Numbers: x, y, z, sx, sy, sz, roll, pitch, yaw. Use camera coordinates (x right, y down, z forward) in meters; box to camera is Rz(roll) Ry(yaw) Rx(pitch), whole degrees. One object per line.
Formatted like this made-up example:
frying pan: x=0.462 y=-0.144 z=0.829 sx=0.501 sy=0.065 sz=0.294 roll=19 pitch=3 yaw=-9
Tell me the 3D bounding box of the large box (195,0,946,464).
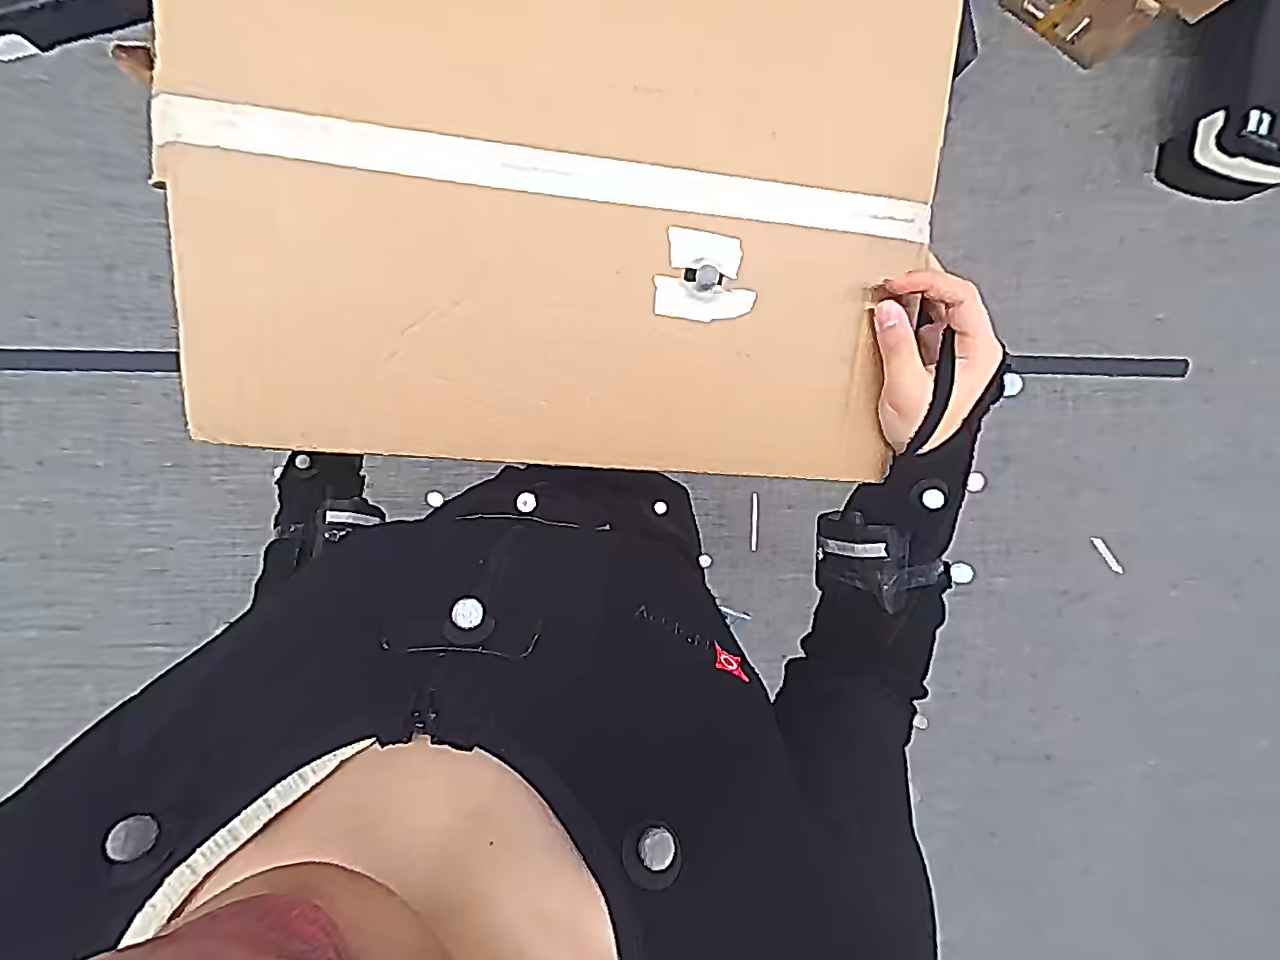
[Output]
large box: x=-0.050 y=-0.192 z=0.446 sx=0.408 sy=0.320 sz=0.320 roll=3 pitch=100 yaw=-11
